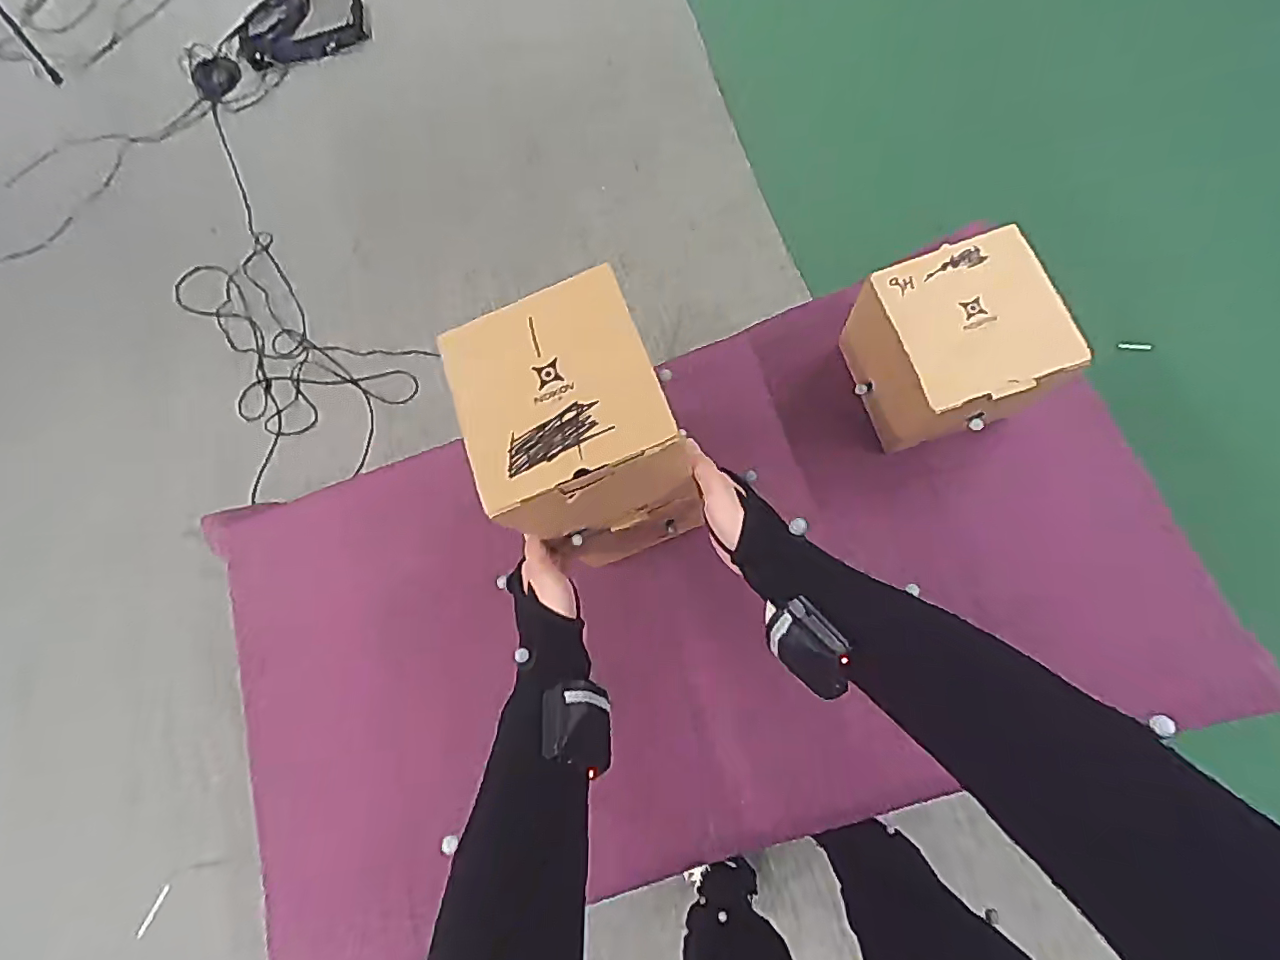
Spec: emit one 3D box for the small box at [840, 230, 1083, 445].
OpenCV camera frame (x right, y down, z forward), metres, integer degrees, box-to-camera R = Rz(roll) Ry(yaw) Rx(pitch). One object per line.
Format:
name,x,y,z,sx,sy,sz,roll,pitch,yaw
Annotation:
small box,0.364,-0.153,0.653,0.168,0.176,0.179,-18,76,4

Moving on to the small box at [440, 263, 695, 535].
small box,-0.057,-0.058,0.515,0.168,0.176,0.179,-23,70,4

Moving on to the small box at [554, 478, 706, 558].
small box,-0.026,-0.011,0.670,0.168,0.176,0.179,-23,71,3
